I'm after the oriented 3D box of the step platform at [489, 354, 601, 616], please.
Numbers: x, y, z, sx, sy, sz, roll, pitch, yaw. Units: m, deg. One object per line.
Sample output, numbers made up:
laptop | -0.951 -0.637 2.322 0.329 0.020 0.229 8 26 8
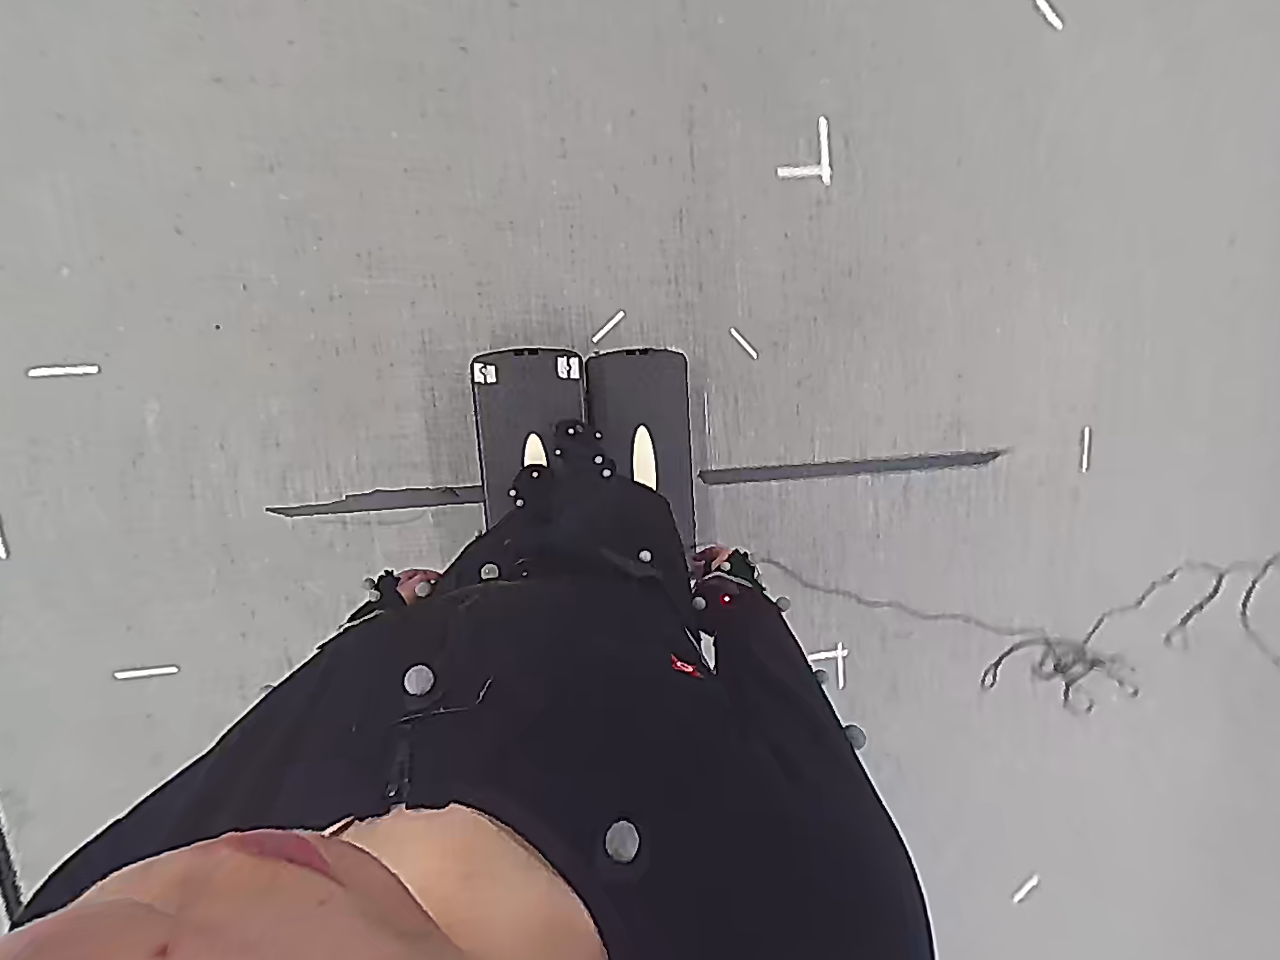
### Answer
step platform | -0.250 0.014 1.442 0.286 0.204 0.684 0 95 -8
